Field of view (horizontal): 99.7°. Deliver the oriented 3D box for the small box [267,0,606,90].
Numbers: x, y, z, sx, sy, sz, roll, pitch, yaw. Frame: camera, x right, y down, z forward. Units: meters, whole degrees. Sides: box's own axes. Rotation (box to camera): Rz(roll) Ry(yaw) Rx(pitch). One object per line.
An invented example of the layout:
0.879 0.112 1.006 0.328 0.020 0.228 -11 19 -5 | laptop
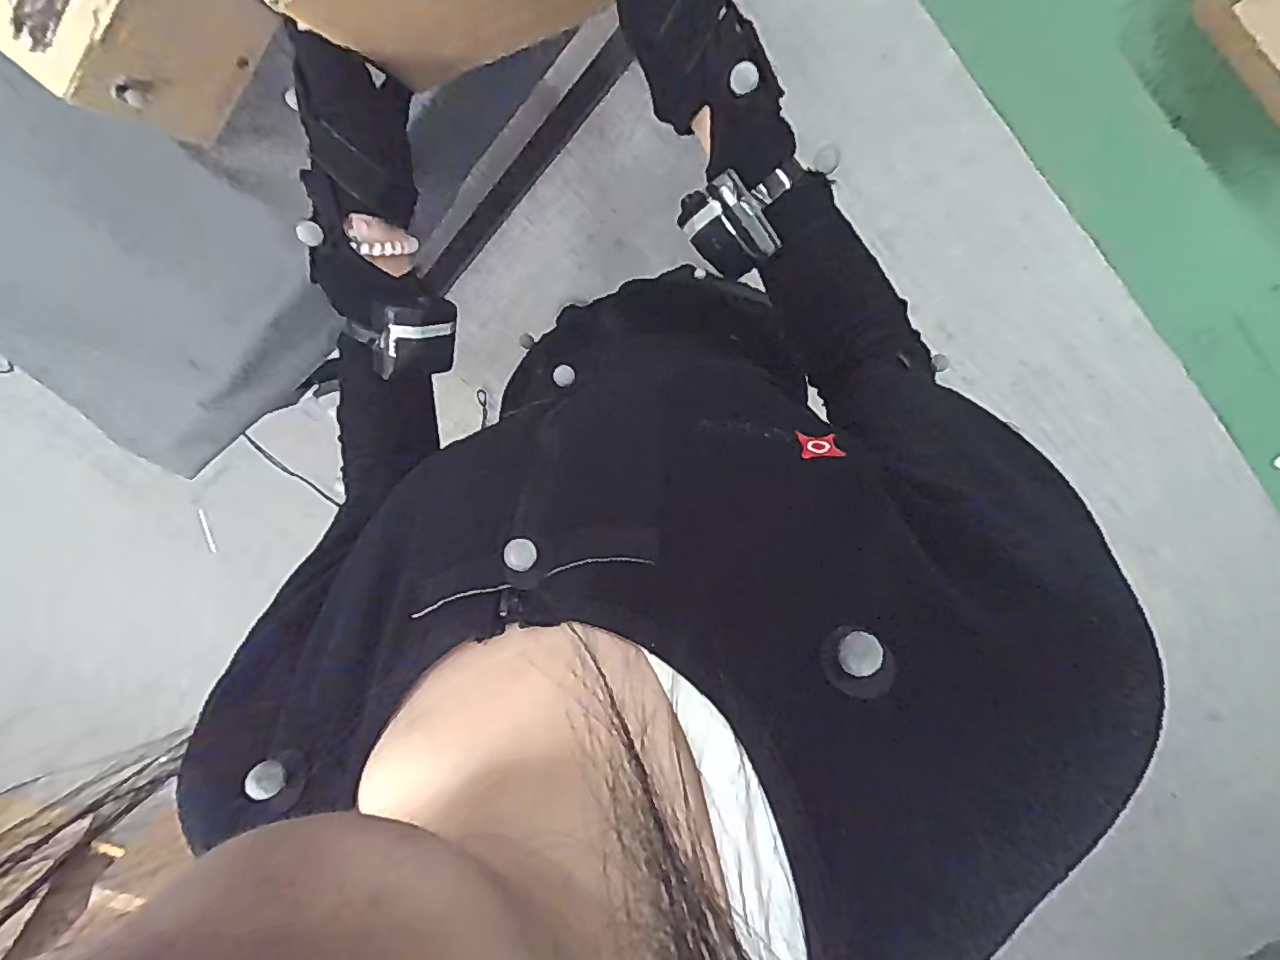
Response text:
-0.123 -0.355 0.297 0.179 0.176 0.168 -17 111 9 | small box
